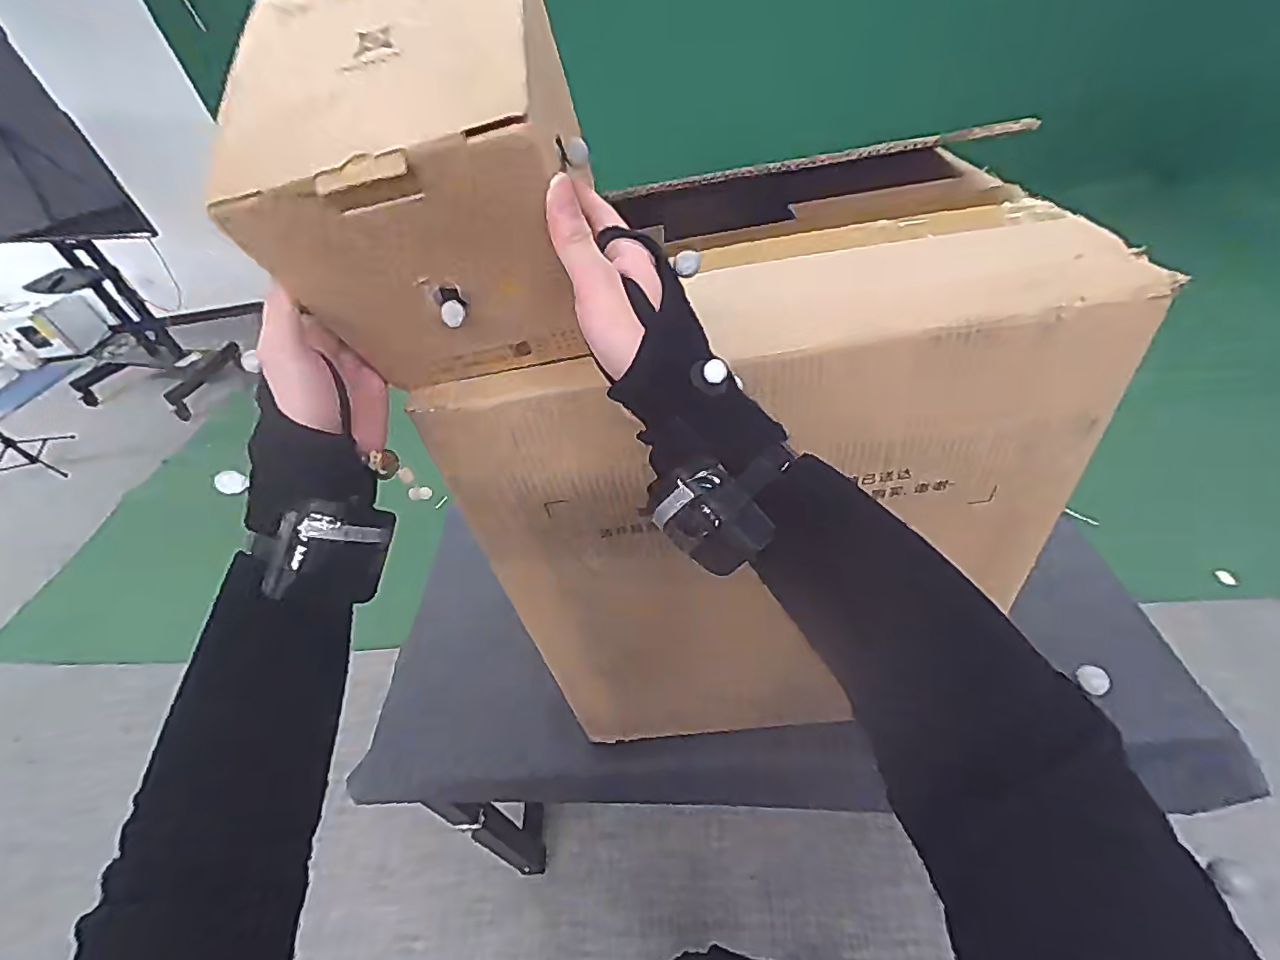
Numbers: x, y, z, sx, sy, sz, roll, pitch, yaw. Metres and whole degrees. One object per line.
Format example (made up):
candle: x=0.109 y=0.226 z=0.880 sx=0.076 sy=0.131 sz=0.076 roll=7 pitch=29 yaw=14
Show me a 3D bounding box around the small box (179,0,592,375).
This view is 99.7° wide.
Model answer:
small box: x=-0.132 y=-0.184 z=0.348 sx=0.168 sy=0.176 sz=0.179 roll=-10 pitch=67 yaw=5
